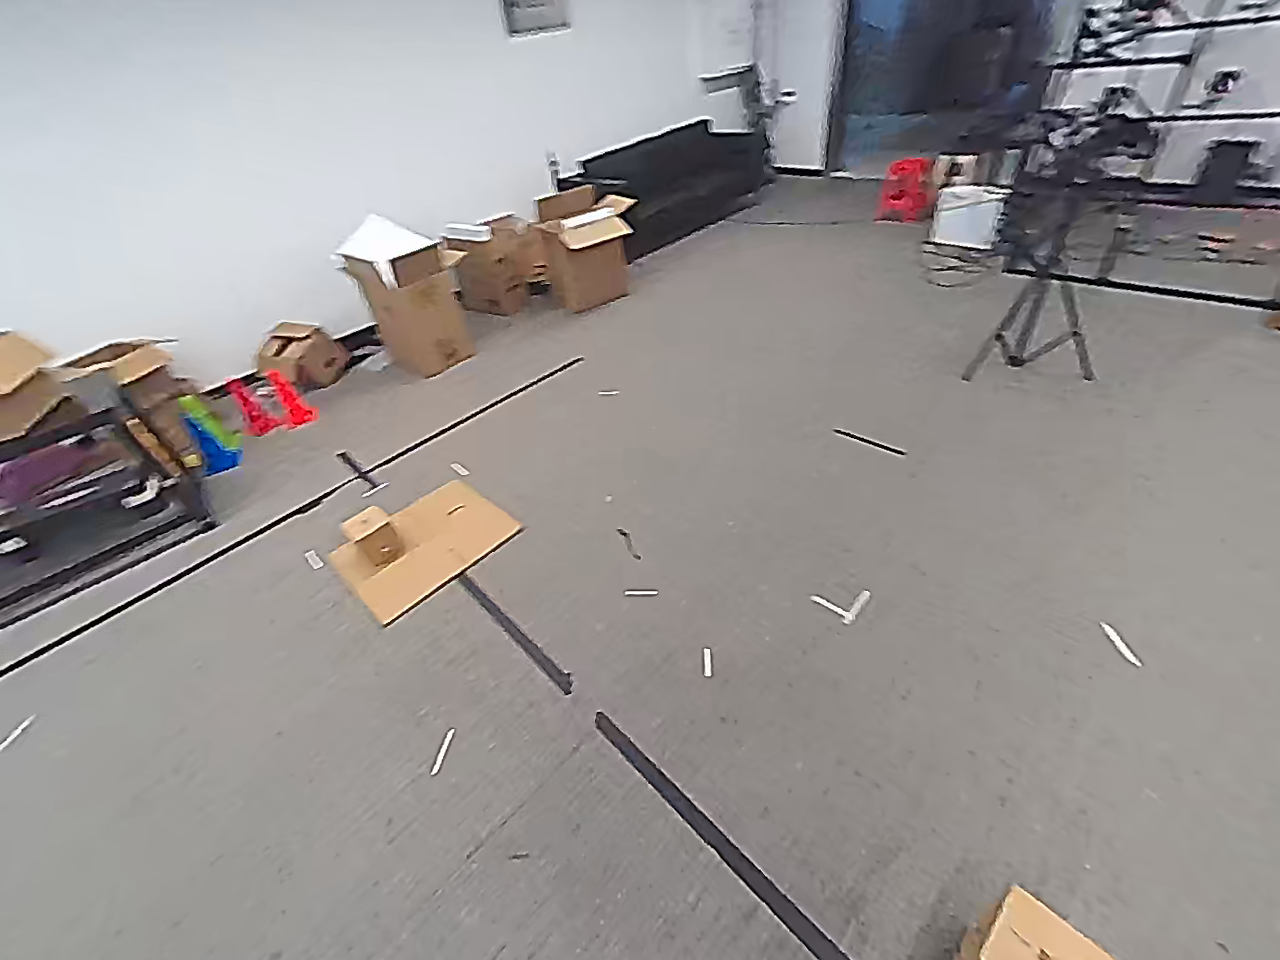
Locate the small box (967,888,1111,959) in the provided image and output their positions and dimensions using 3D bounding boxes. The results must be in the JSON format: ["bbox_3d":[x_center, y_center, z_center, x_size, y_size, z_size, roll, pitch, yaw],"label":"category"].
[{"bbox_3d":[0.739,0.923,1.005,0.168,0.176,0.179,-34,44,-28],"label":"small box"}]

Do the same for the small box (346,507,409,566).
[{"bbox_3d":[-1.181,0.257,2.436,0.179,0.176,0.168,27,52,36],"label":"small box"}]
